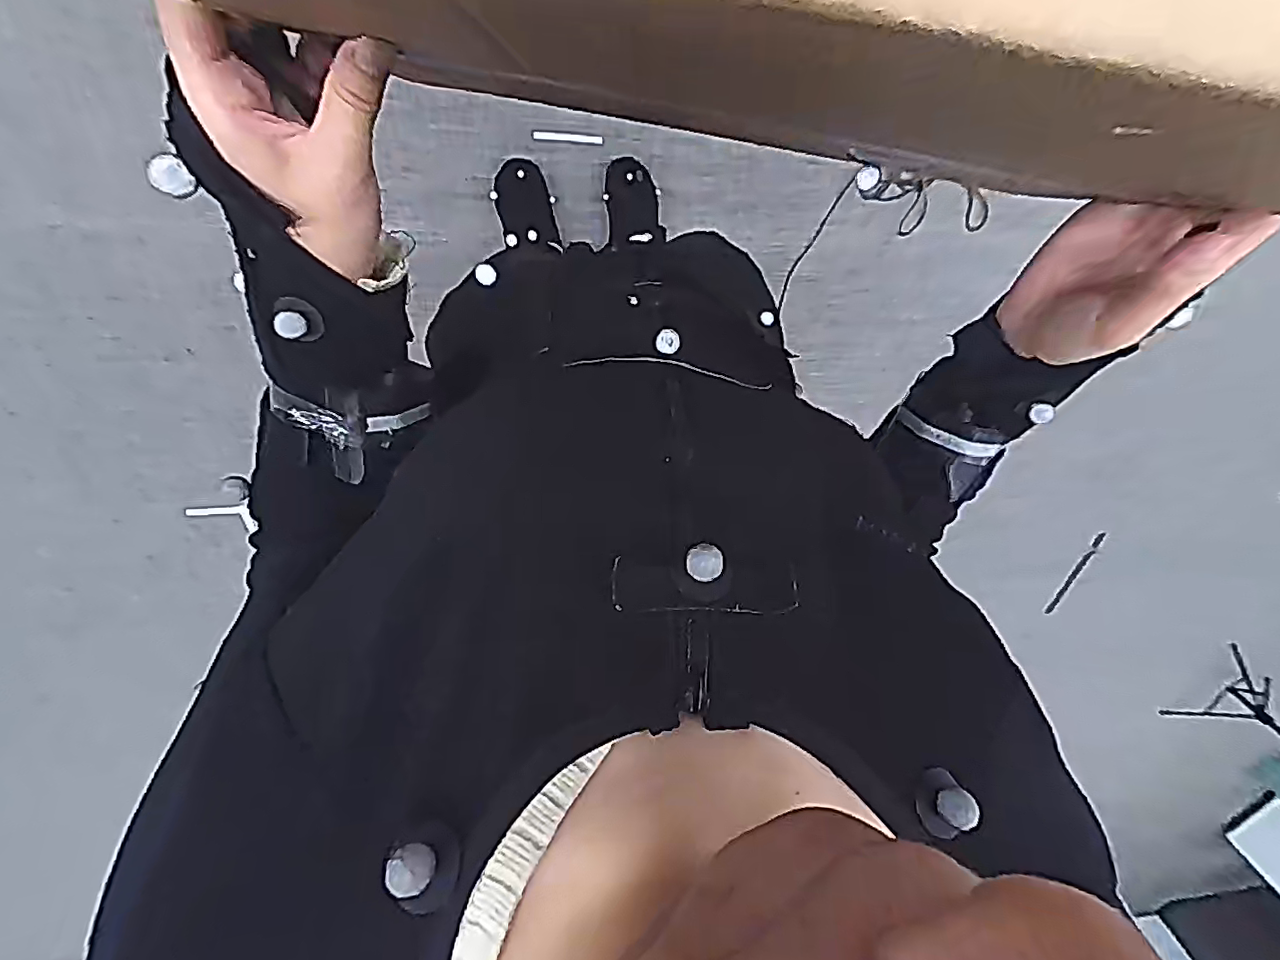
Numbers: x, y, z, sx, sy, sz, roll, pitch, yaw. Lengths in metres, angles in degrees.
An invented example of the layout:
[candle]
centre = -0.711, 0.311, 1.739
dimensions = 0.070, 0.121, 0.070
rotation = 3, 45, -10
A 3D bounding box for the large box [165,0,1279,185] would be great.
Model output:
[large box]
centre = 0.061, -0.287, 0.147
dimensions = 0.408, 0.320, 0.320
rotation = 6, 121, -3
